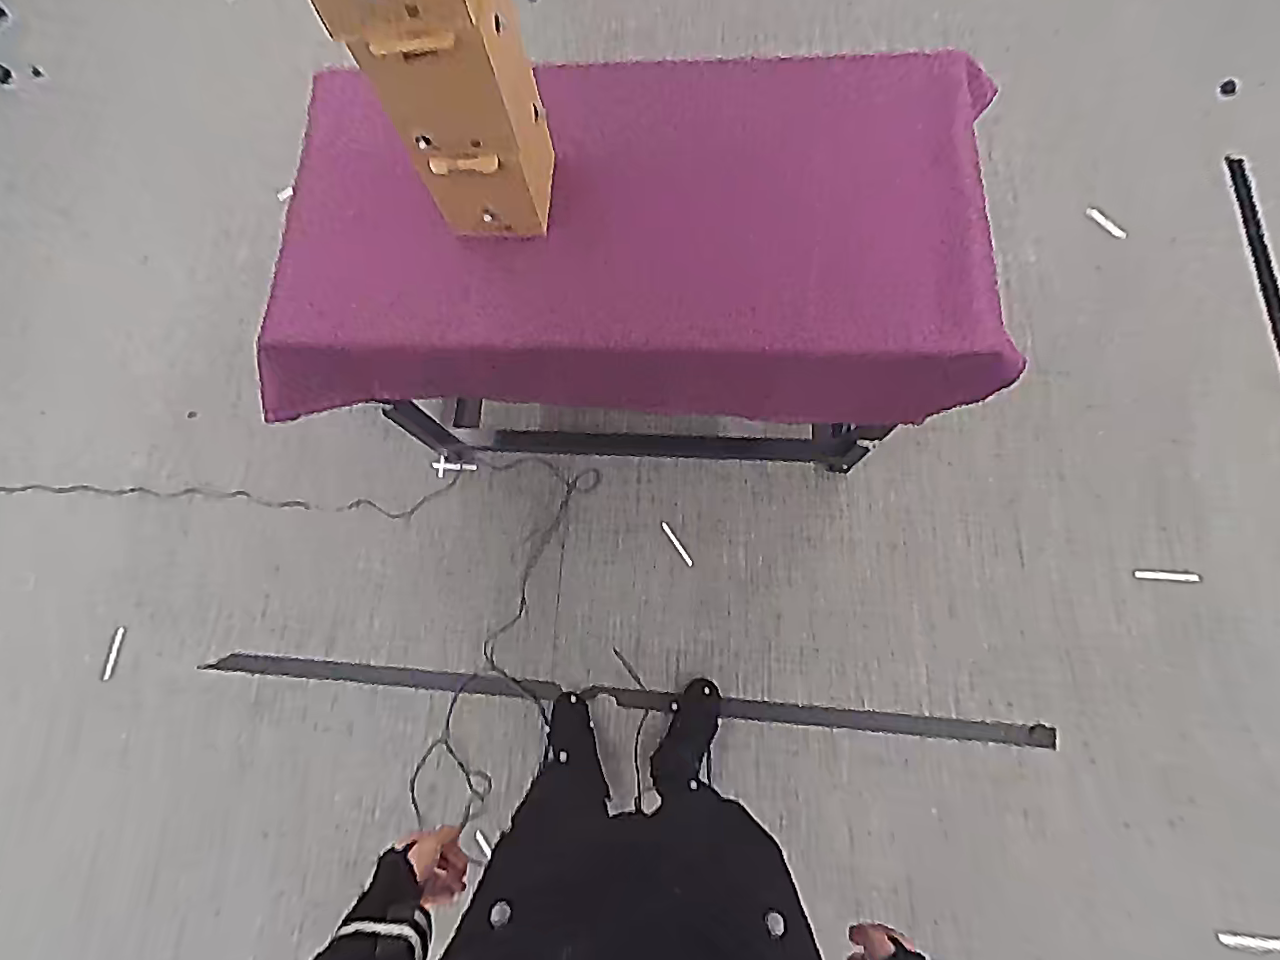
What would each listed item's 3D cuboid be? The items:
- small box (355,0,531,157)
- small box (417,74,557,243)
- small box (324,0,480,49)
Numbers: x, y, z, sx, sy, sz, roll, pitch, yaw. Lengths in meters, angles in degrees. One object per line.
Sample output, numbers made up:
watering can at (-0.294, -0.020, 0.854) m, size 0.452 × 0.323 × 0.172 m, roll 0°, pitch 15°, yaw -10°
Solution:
small box at (-0.251, -0.568, 0.733) m, size 0.168 × 0.176 × 0.179 m, roll -1°, pitch 73°, yaw 4°
small box at (-0.238, -0.522, 0.890) m, size 0.168 × 0.176 × 0.179 m, roll 2°, pitch 75°, yaw 5°
small box at (-0.277, -0.615, 0.579) m, size 0.168 × 0.176 × 0.179 m, roll -6°, pitch 74°, yaw 3°
